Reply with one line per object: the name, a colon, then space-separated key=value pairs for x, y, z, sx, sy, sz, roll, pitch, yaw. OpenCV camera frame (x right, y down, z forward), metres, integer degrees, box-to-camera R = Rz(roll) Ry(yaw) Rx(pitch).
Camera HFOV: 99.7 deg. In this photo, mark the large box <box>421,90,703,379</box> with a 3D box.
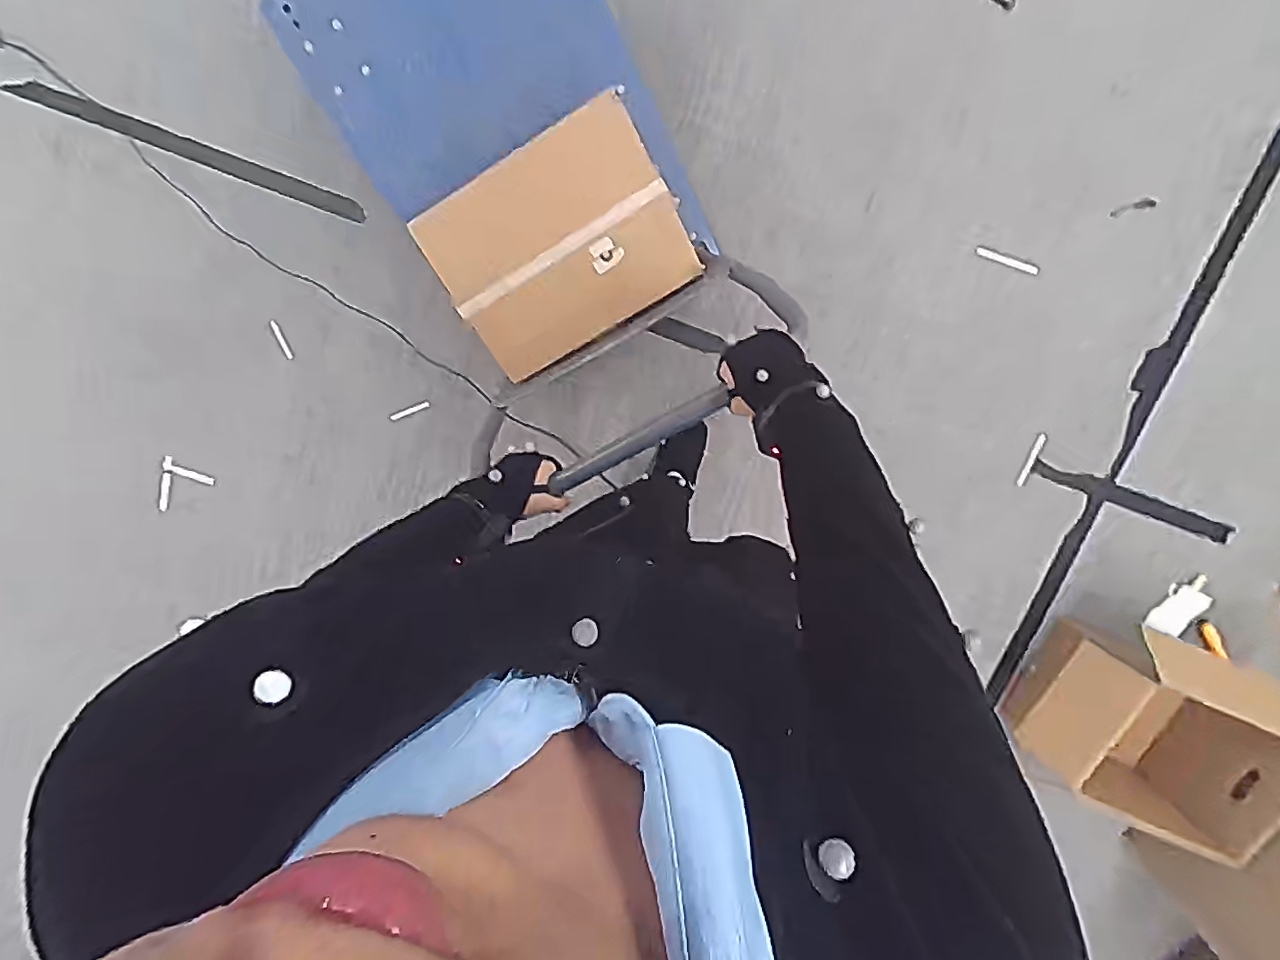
large box: x=-0.140 y=-0.460 z=1.074 sx=0.408 sy=0.320 sz=0.320 roll=-29 pitch=113 yaw=9
